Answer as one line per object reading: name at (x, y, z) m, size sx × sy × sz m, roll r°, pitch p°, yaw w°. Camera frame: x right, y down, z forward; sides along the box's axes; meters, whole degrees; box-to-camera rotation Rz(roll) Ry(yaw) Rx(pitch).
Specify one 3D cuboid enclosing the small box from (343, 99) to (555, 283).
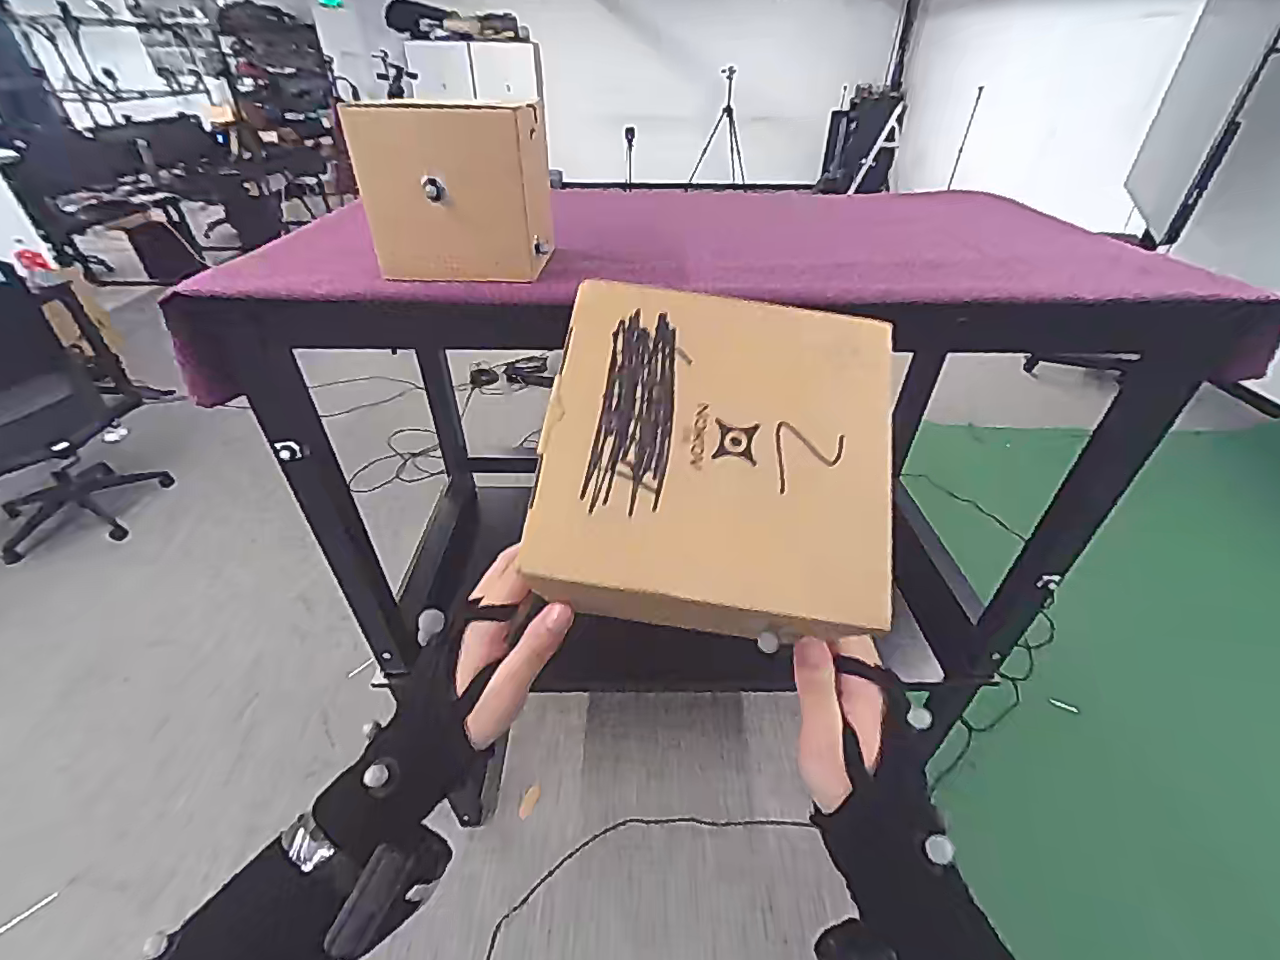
small box at (-0.199, -0.336, 0.631) m, size 0.179 × 0.176 × 0.168 m, roll 1°, pitch 37°, yaw 1°
